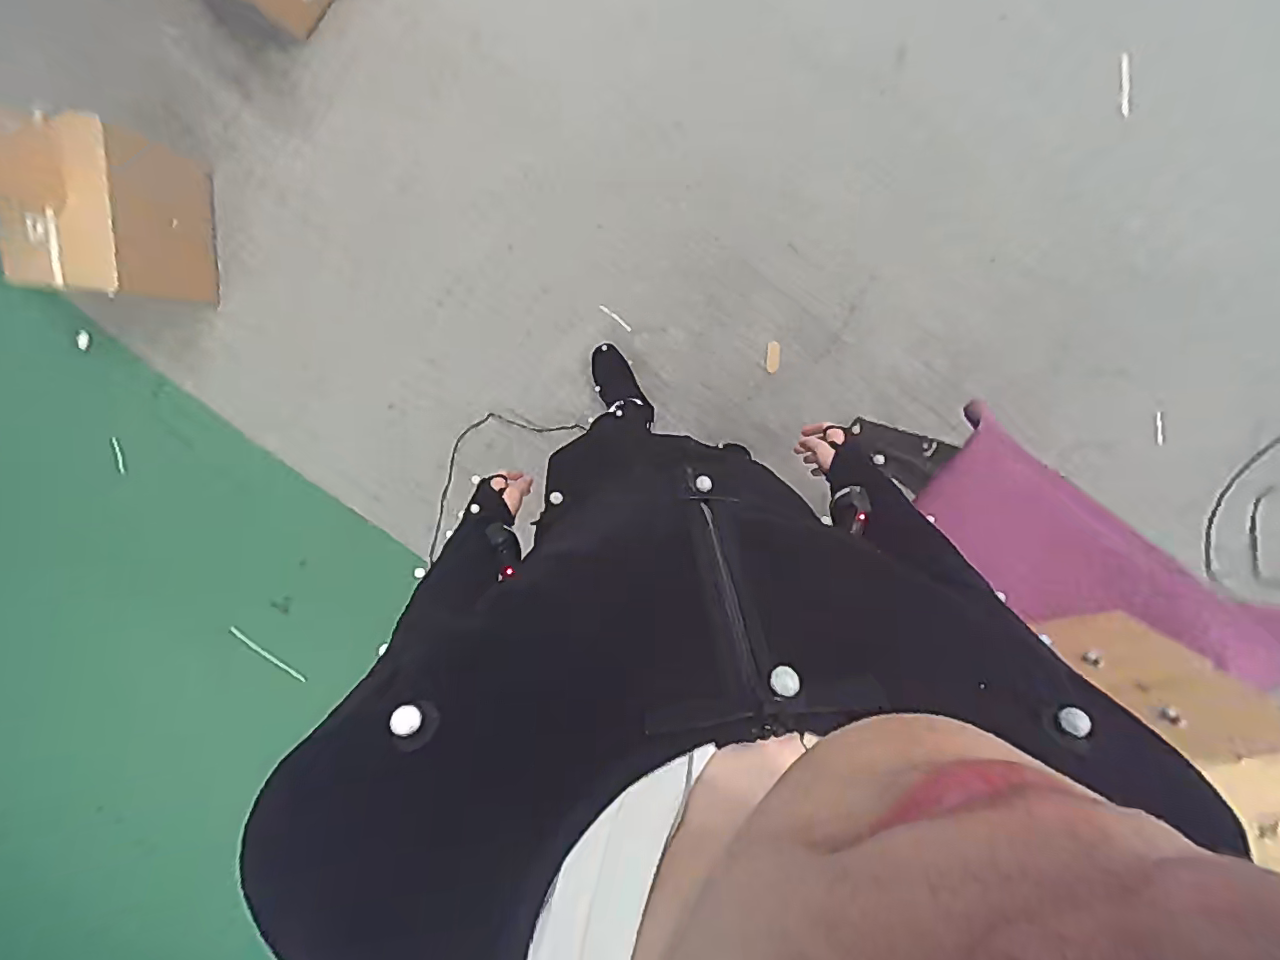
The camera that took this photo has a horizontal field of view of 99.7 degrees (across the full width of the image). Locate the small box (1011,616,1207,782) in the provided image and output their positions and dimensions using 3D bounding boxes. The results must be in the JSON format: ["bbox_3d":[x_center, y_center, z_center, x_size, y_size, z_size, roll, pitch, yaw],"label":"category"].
[{"bbox_3d":[0.706,0.329,0.835,0.179,0.176,0.168,-11,101,7],"label":"small box"}]

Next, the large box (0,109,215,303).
[{"bbox_3d":[-1.434,-0.713,1.462,0.320,0.320,0.408,6,103,4],"label":"large box"}]
